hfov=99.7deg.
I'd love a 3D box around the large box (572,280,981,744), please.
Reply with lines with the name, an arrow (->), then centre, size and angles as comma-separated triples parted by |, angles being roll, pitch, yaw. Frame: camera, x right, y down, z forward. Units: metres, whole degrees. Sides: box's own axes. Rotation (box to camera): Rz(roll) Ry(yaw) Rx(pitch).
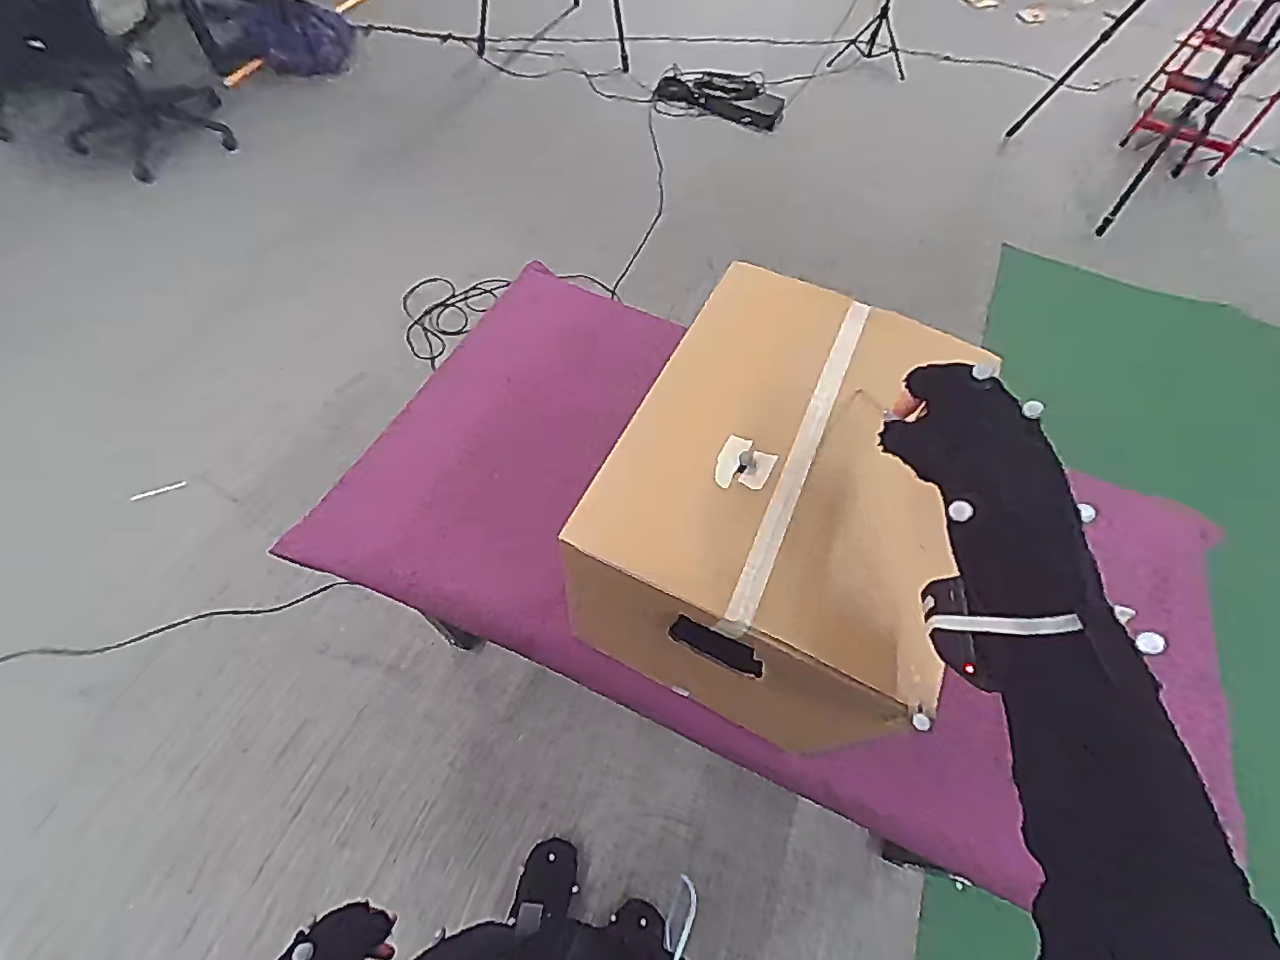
large box -> 0.149, 0.044, 0.659 | 0.320, 0.320, 0.408 | 25, 61, 10
